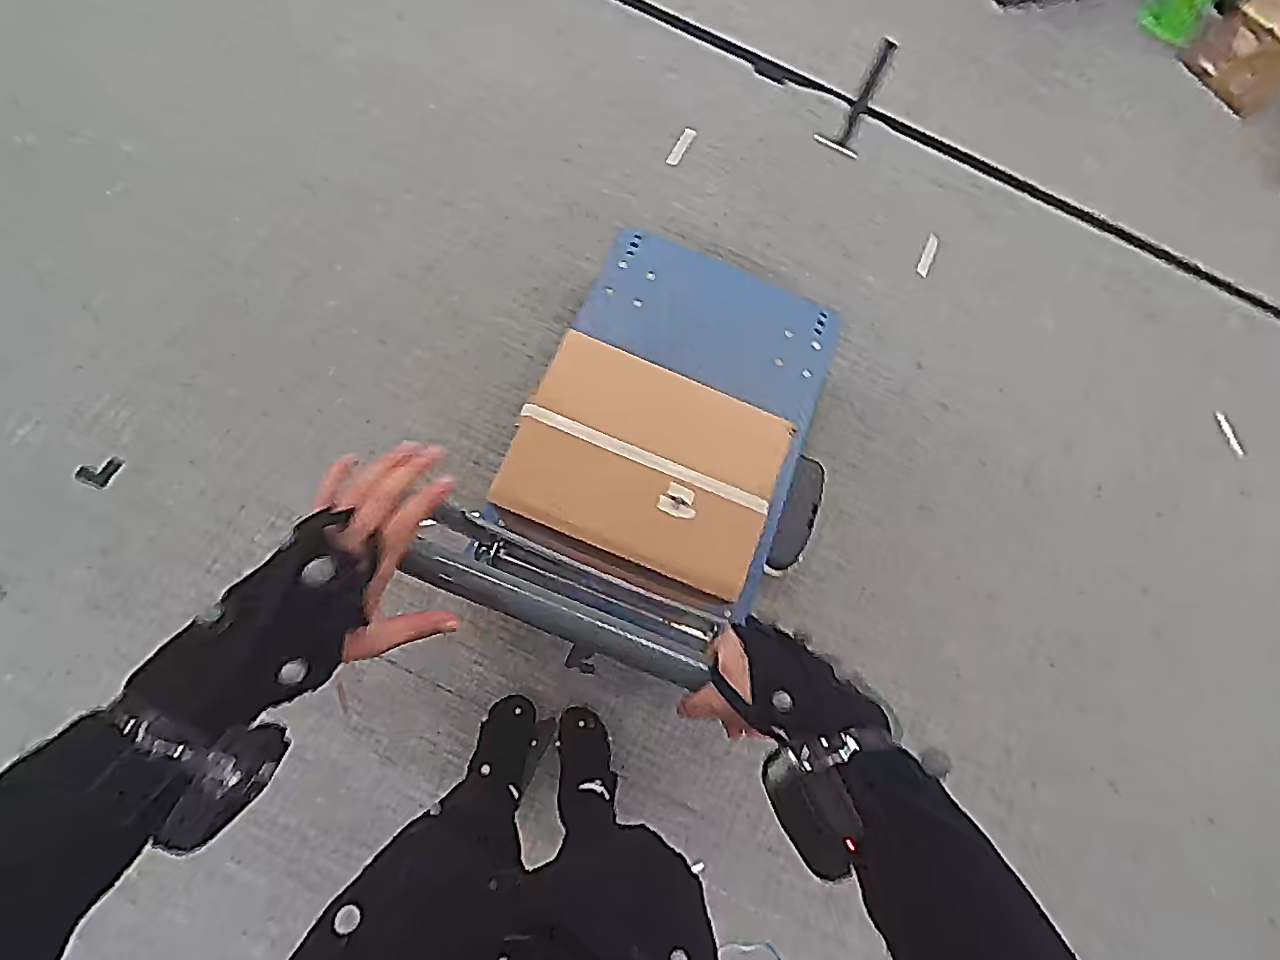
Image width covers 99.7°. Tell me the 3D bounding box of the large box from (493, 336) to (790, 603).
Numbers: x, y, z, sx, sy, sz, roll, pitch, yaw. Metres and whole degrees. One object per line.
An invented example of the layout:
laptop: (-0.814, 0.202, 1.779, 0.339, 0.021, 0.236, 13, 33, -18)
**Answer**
large box: (-0.007, 0.007, 0.989, 0.408, 0.320, 0.320, 23, 75, -2)
